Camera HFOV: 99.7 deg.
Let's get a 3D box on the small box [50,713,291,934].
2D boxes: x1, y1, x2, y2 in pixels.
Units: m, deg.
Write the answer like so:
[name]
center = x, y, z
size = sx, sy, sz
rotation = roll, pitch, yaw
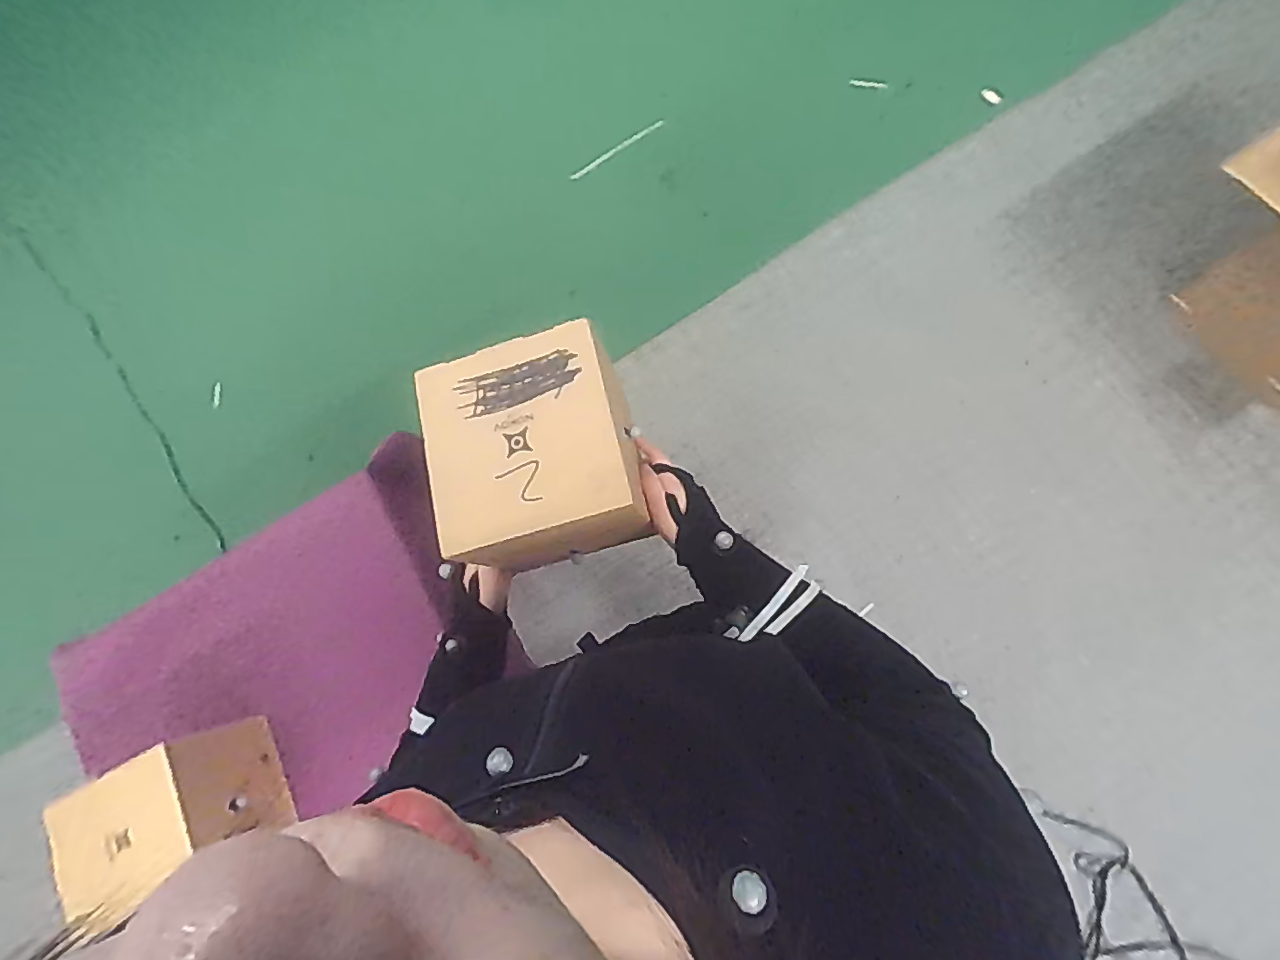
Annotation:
[small box]
center = -0.618, 0.446, 0.737
size = 0.179, 0.176, 0.168
rotation = -29, 76, 1
